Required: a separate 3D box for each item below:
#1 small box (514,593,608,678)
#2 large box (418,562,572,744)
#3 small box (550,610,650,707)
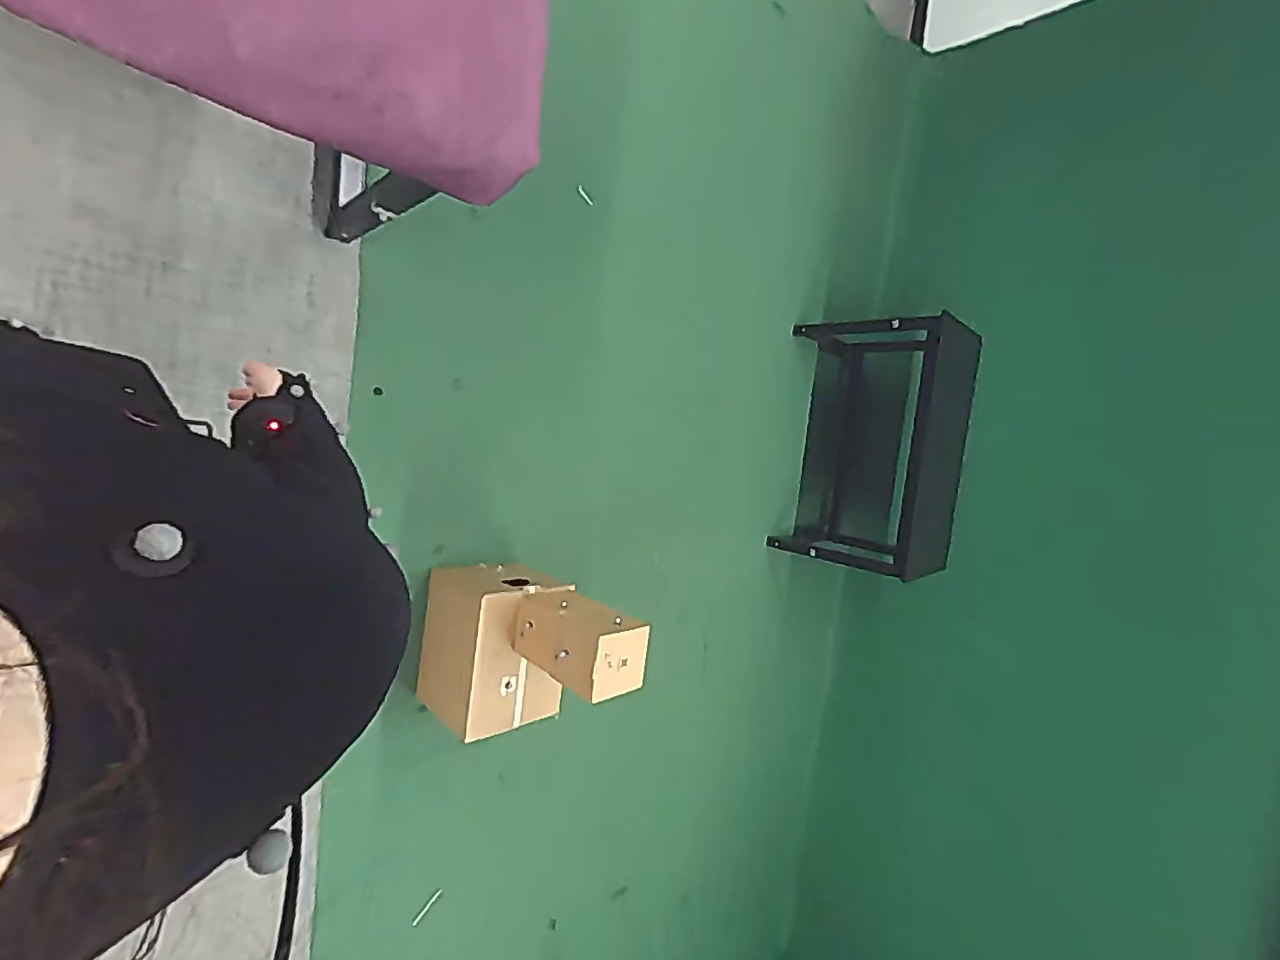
[{"bbox_3d":[-0.217,0.415,1.480,0.179,0.176,0.168,5,95,-46],"label":"small box"},{"bbox_3d":[-0.437,0.485,1.617,0.320,0.320,0.408,5,95,-45],"label":"large box"},{"bbox_3d":[-0.102,0.439,1.364,0.179,0.176,0.168,3,95,-46],"label":"small box"}]
